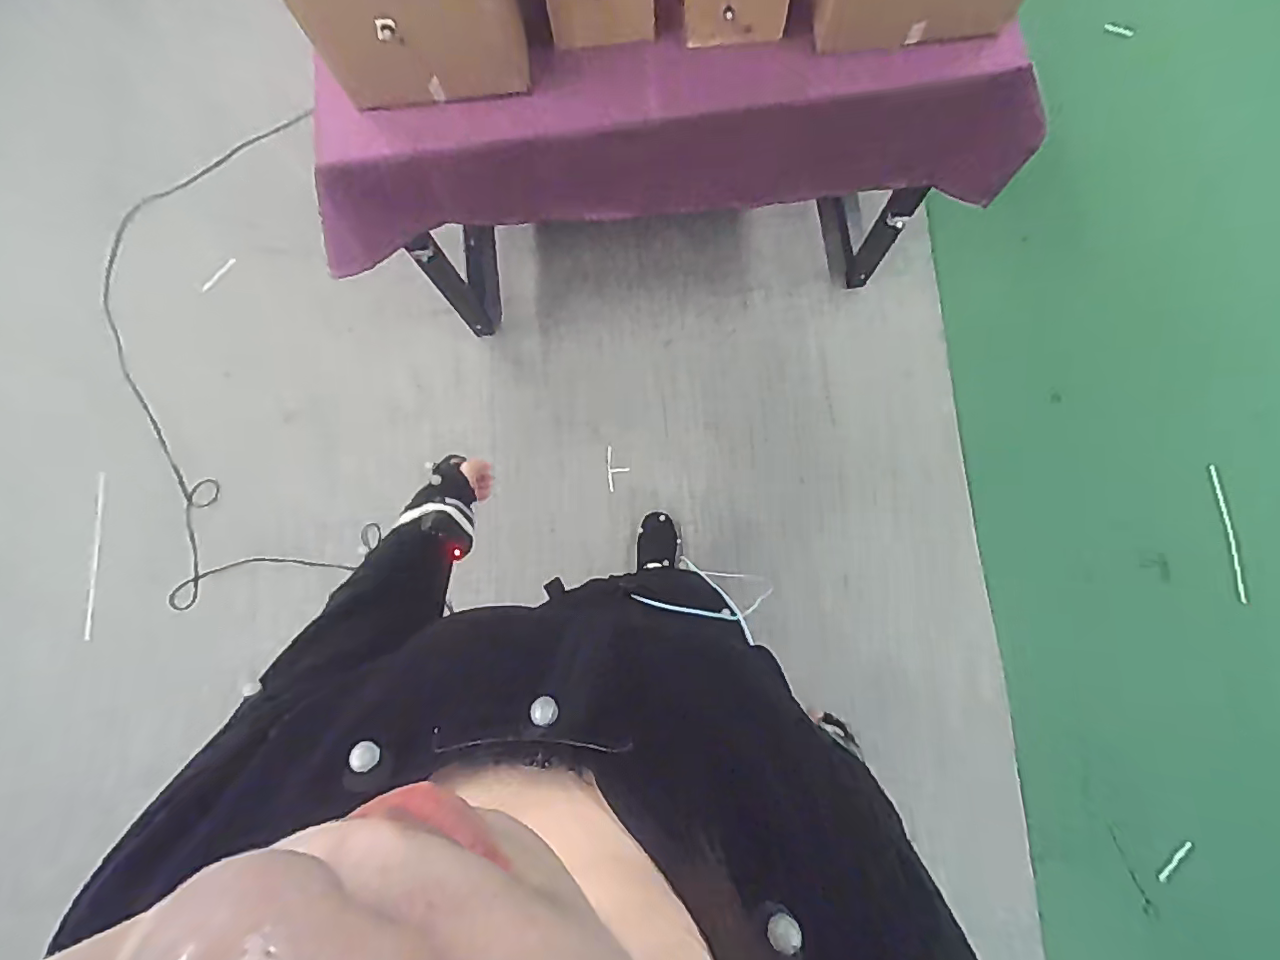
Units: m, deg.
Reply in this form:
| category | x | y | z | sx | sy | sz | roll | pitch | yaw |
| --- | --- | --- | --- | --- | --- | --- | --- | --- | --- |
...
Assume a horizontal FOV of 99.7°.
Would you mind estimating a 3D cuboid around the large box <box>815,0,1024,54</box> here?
| category | x | y | z | sx | sy | sz | roll | pitch | yaw |
| --- | --- | --- | --- | --- | --- | --- | --- | --- | --- |
| large box | 0.442 | -0.949 | 0.798 | 0.320 | 0.320 | 0.408 | -4 | 81 | 2 |
